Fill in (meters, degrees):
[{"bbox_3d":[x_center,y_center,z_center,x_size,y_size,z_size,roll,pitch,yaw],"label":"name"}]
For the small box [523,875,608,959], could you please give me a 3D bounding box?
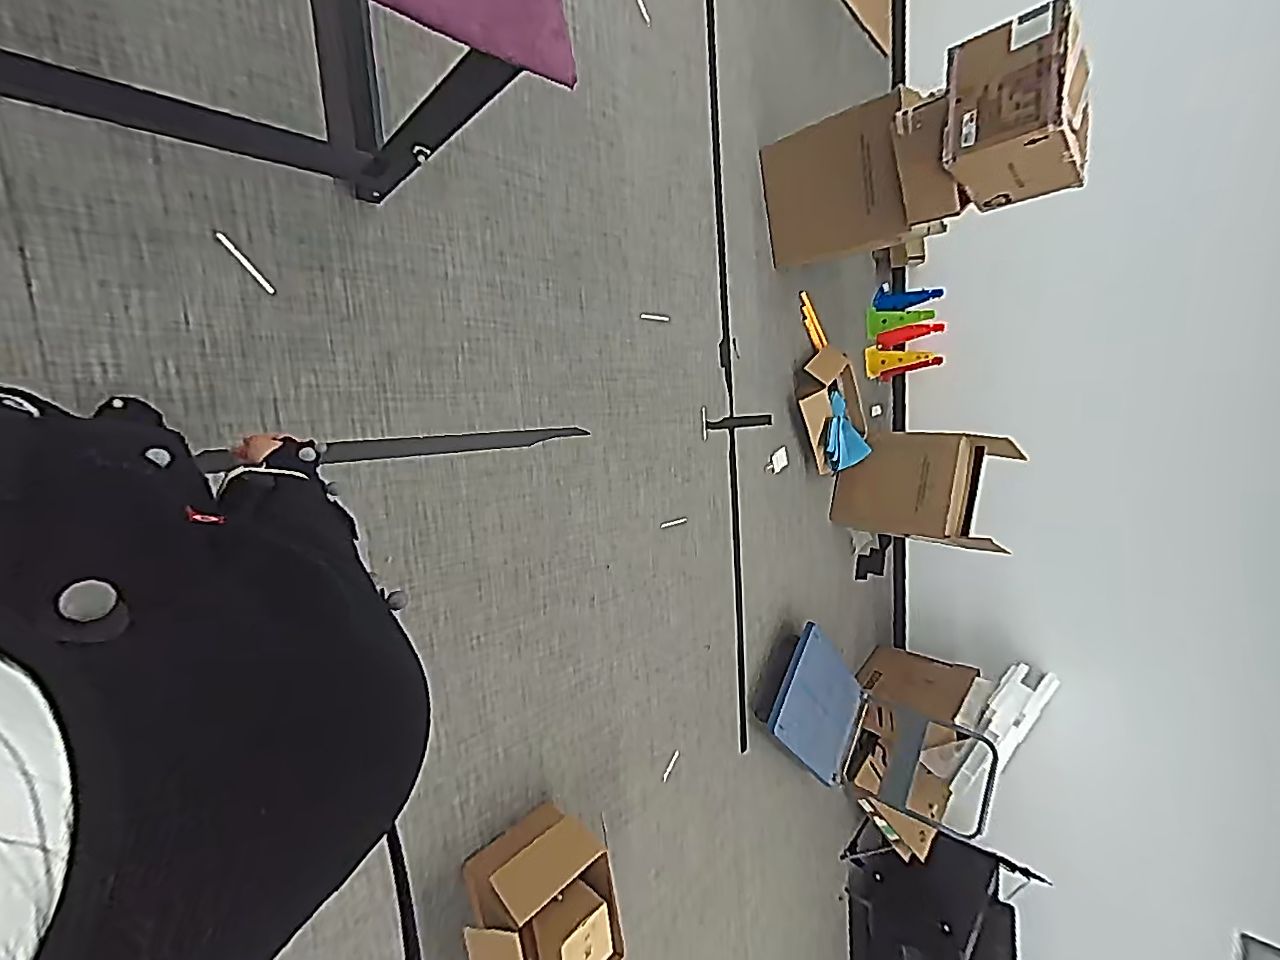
[{"bbox_3d":[-0.214,1.287,1.537,0.168,0.176,0.179,-15,103,-44],"label":"small box"}]
